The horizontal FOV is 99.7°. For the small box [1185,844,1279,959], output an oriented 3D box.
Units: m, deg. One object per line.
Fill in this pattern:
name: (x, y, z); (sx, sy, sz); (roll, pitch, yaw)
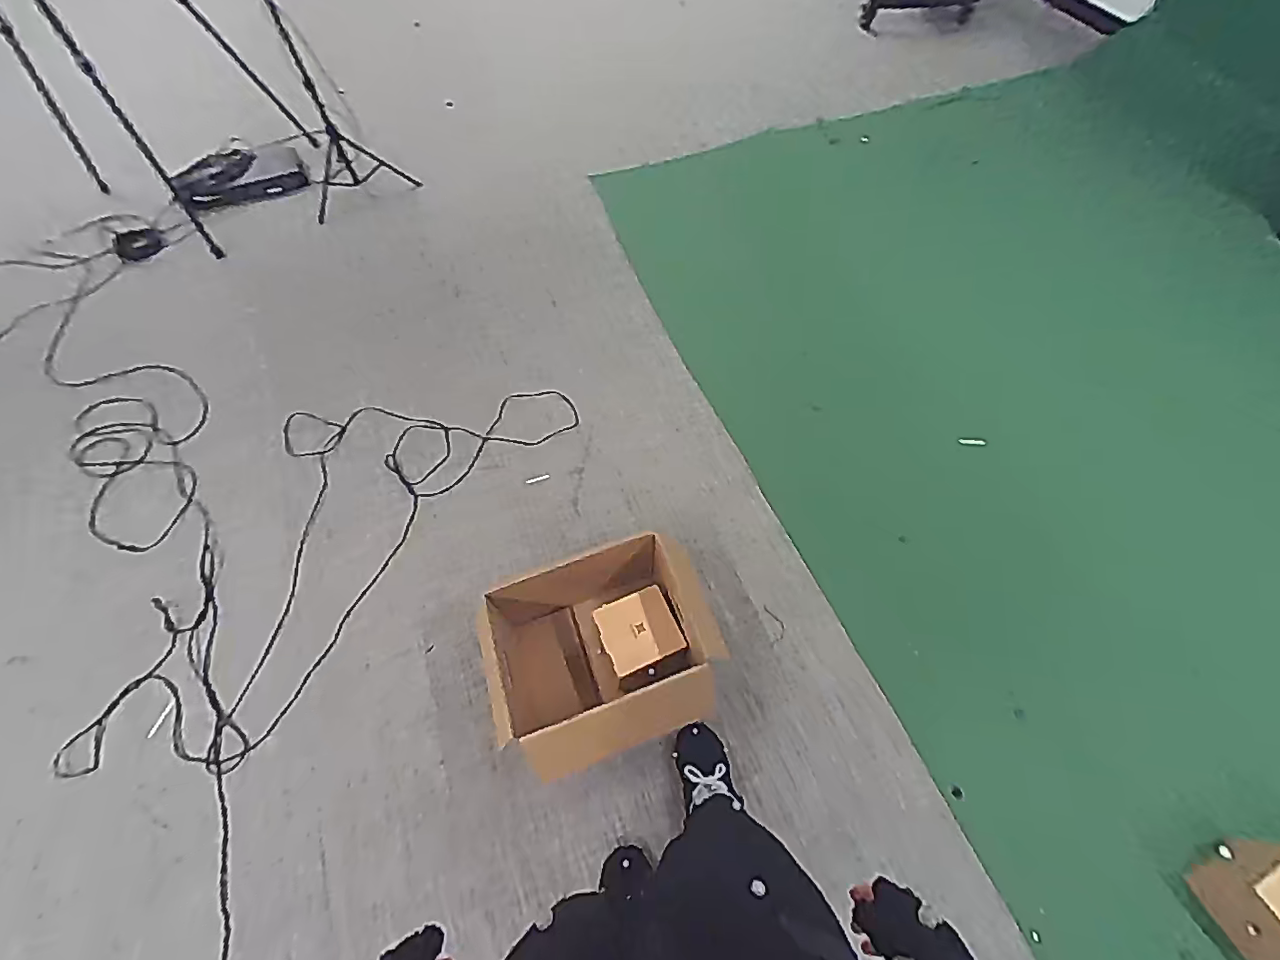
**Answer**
small box: (1.264, 0.851, 1.062); (0.168, 0.176, 0.179); (-22, 62, -11)
